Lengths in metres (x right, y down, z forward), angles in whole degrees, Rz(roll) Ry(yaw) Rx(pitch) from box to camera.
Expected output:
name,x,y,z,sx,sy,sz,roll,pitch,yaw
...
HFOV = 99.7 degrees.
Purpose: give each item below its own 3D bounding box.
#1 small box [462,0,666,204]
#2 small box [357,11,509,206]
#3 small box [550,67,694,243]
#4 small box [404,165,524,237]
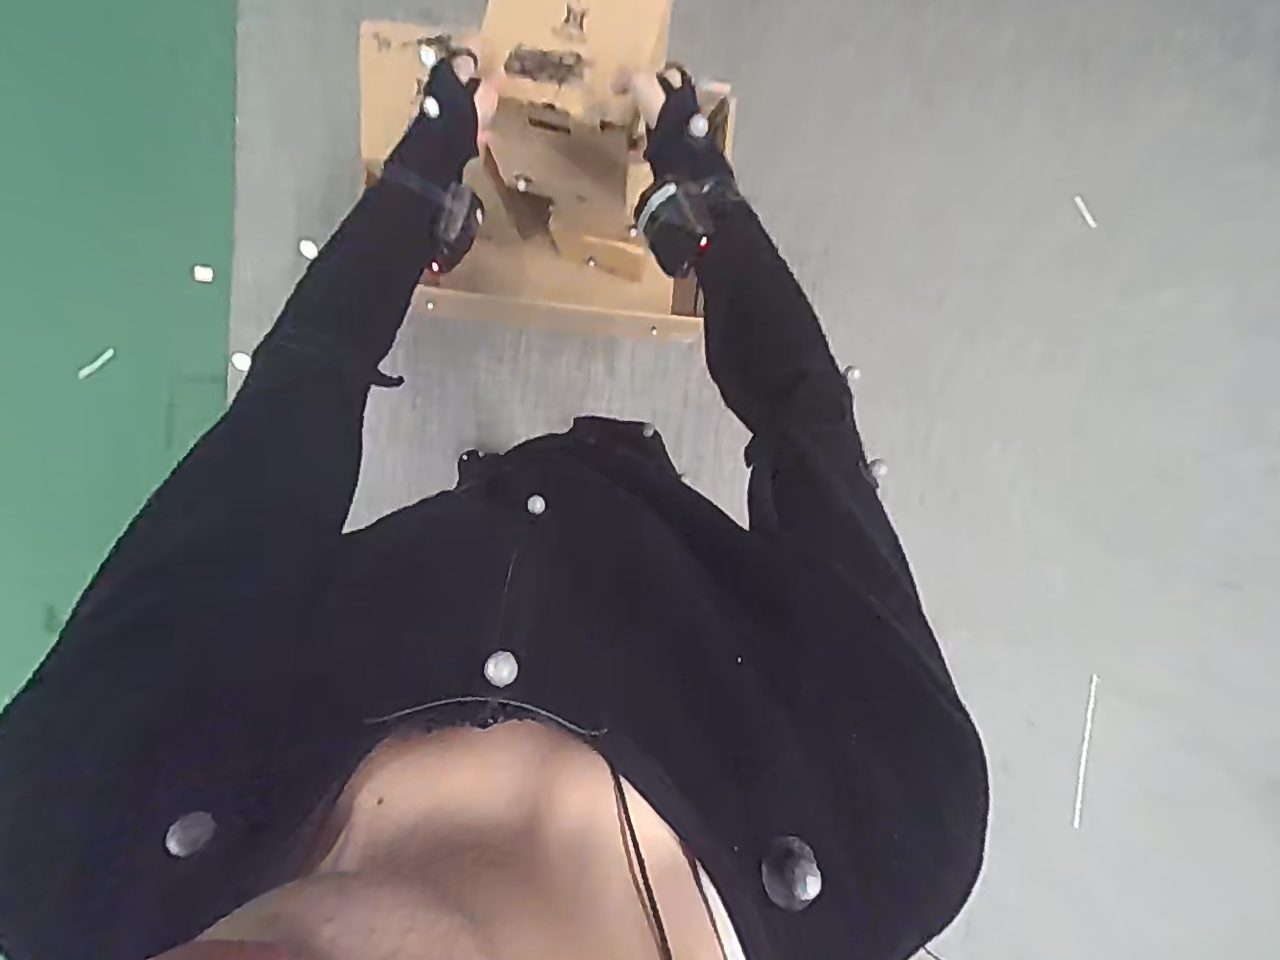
name,x,y,z,sx,sy,sz,roll,pitch,yaw
small box,-0.072,-0.439,0.592,0.168,0.176,0.179,15,90,-3
small box,-0.286,-0.518,0.781,0.168,0.176,0.179,3,96,-3
small box,-0.026,-0.474,0.797,0.168,0.176,0.179,11,95,-3
small box,-0.300,-0.548,0.942,0.168,0.176,0.179,3,95,-2
